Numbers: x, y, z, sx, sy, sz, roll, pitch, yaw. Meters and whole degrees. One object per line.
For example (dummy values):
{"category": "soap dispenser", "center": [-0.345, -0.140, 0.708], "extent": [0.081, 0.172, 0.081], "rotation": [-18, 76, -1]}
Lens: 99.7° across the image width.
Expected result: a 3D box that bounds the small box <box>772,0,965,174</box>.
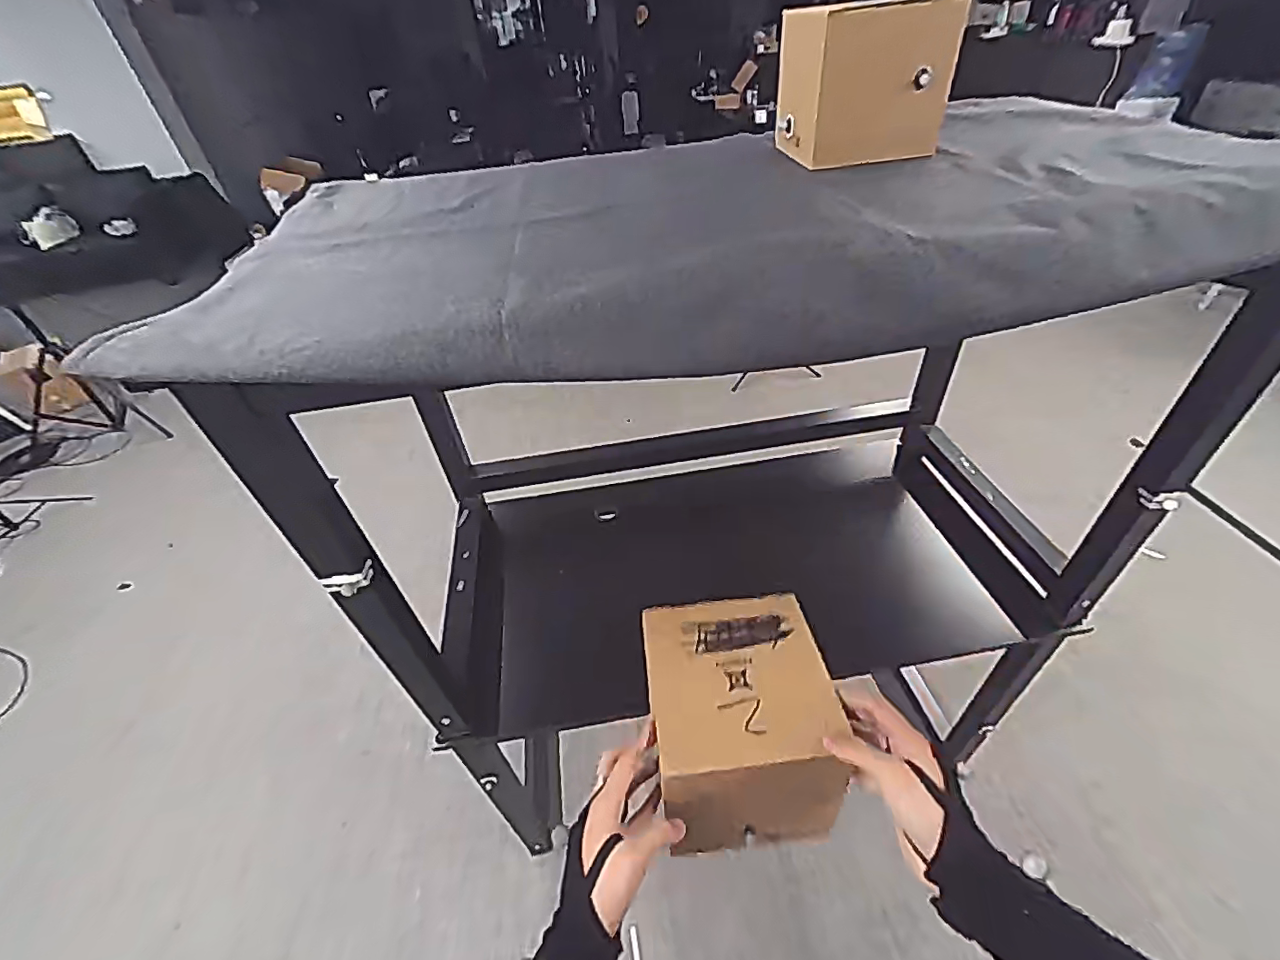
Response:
{"category": "small box", "center": [0.292, -0.535, 0.737], "extent": [0.179, 0.176, 0.168], "rotation": [-8, 41, -2]}
